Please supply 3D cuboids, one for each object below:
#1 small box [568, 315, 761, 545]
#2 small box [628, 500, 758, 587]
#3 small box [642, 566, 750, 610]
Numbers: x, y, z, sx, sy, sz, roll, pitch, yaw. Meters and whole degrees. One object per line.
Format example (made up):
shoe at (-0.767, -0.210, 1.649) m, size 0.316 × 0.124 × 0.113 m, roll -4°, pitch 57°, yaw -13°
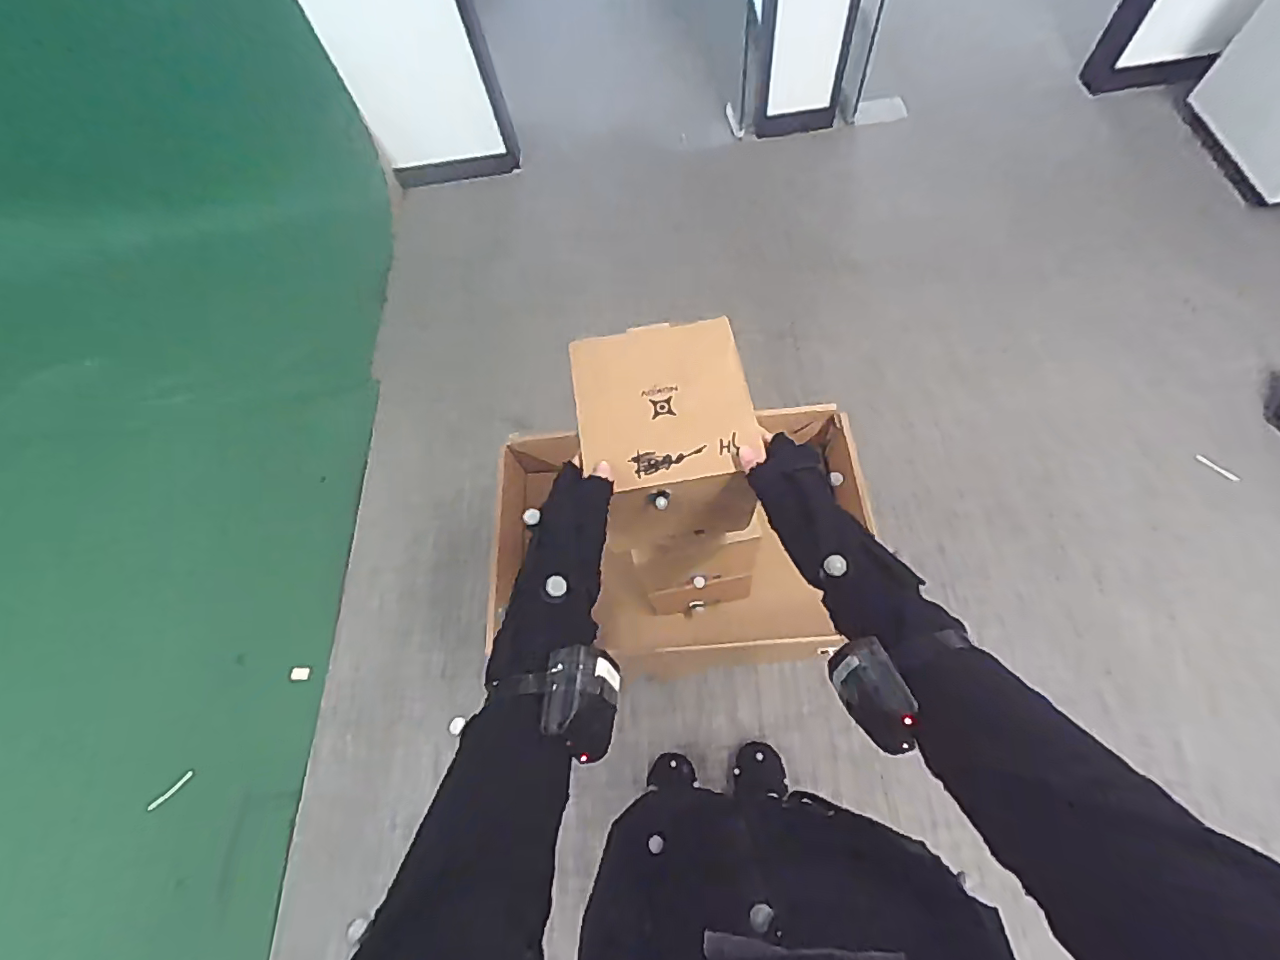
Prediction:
small box at (0.023, -0.047, 0.589) m, size 0.168 × 0.176 × 0.179 m, roll -10°, pitch 65°, yaw 1°
small box at (0.065, 0.039, 0.780) m, size 0.168 × 0.176 × 0.179 m, roll -12°, pitch 65°, yaw 4°
small box at (0.085, 0.110, 0.927) m, size 0.168 × 0.176 × 0.179 m, roll -12°, pitch 65°, yaw 3°
